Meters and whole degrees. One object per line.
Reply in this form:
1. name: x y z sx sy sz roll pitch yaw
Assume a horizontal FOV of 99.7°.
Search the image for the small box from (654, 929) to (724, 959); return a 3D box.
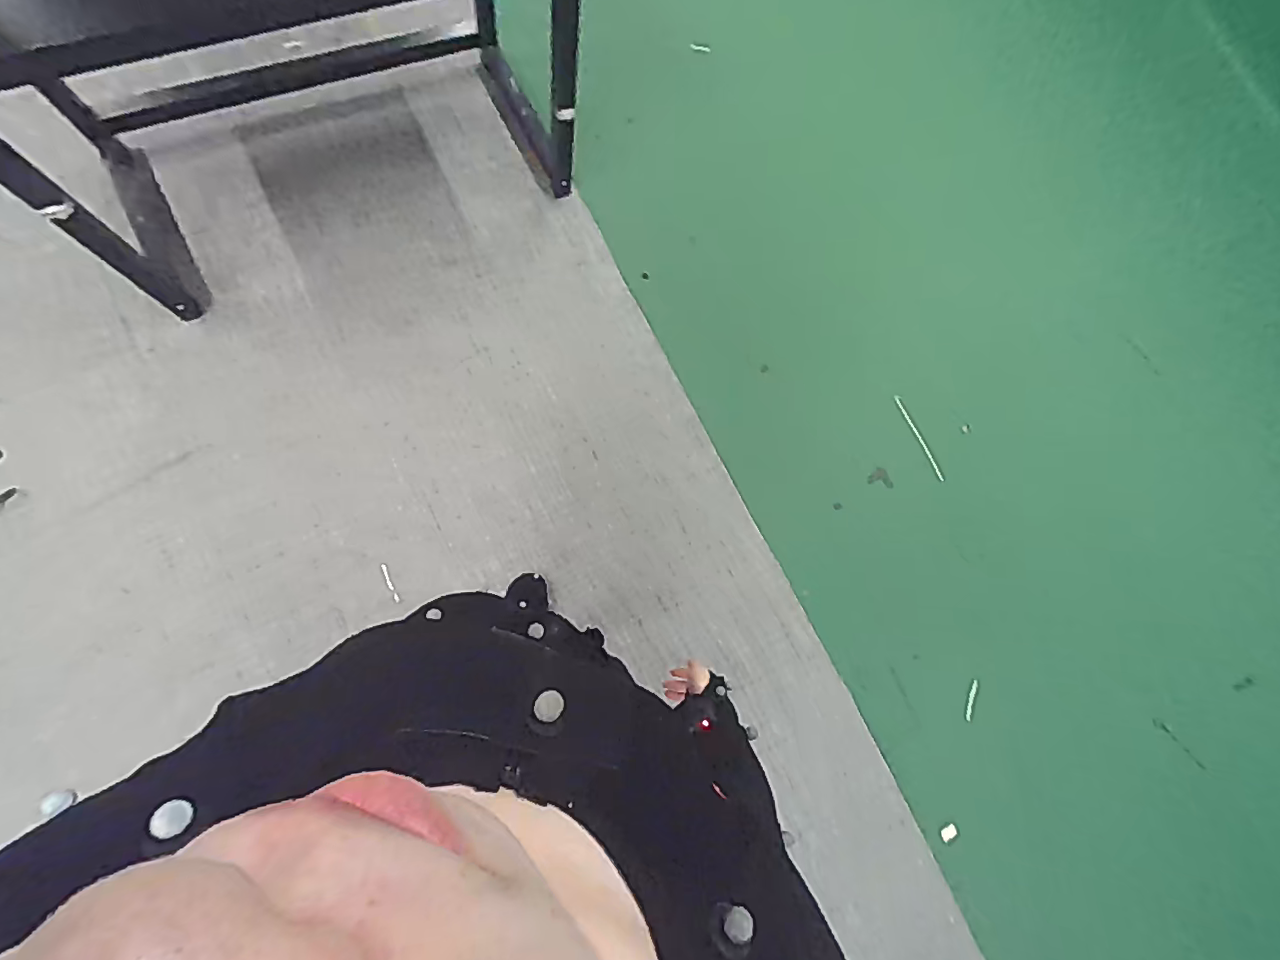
1. small box: 0.129 1.106 1.141 0.168 0.176 0.179 -28 84 -15
